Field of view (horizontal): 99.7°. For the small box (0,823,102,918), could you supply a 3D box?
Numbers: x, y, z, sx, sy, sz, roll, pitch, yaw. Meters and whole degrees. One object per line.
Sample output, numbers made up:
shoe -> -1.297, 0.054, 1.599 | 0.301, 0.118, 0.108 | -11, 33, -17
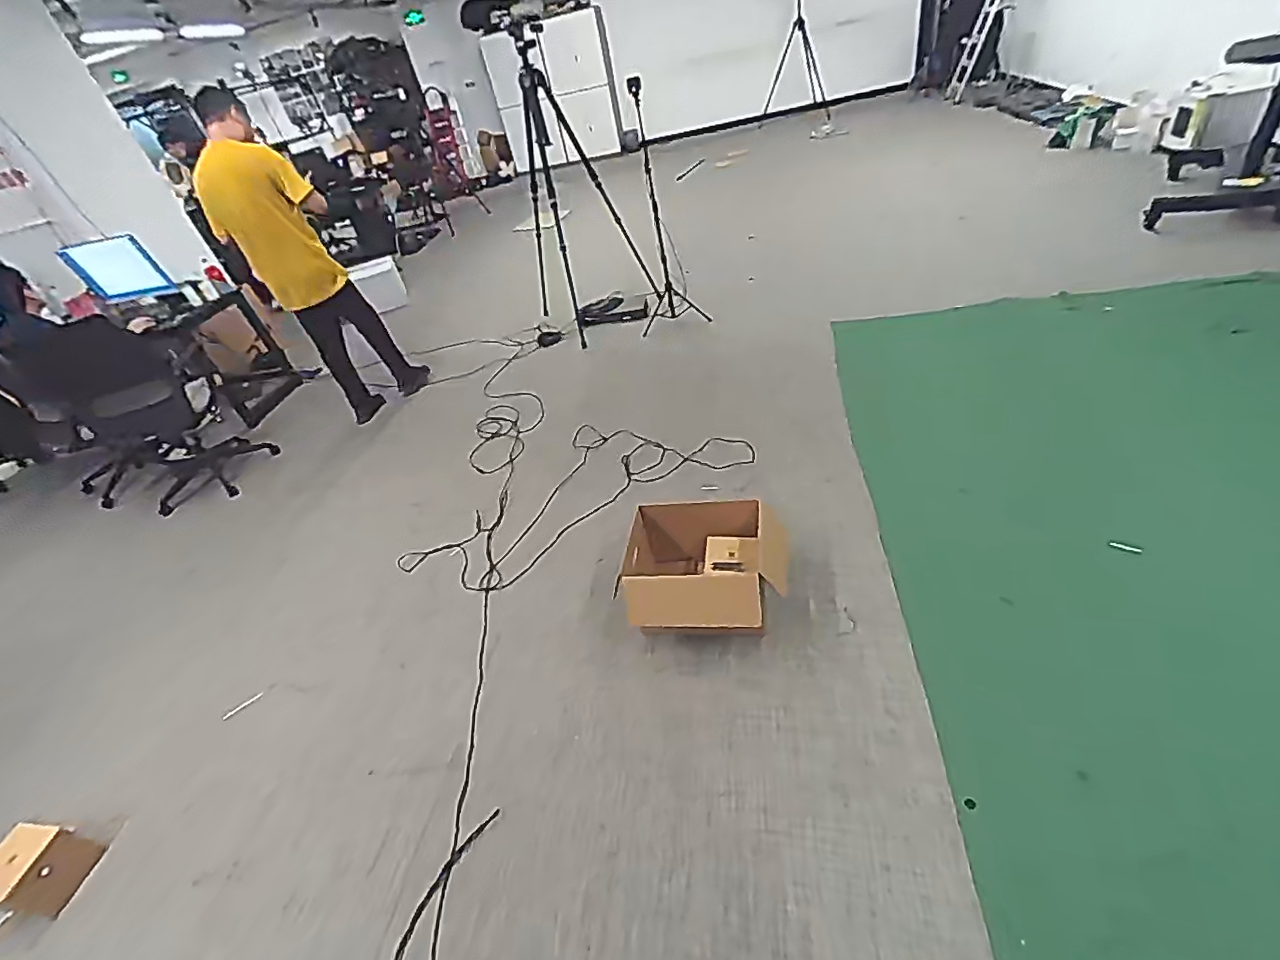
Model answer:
small box -> -1.668, 1.082, 1.500 | 0.168, 0.176, 0.179 | -4, 41, 12
